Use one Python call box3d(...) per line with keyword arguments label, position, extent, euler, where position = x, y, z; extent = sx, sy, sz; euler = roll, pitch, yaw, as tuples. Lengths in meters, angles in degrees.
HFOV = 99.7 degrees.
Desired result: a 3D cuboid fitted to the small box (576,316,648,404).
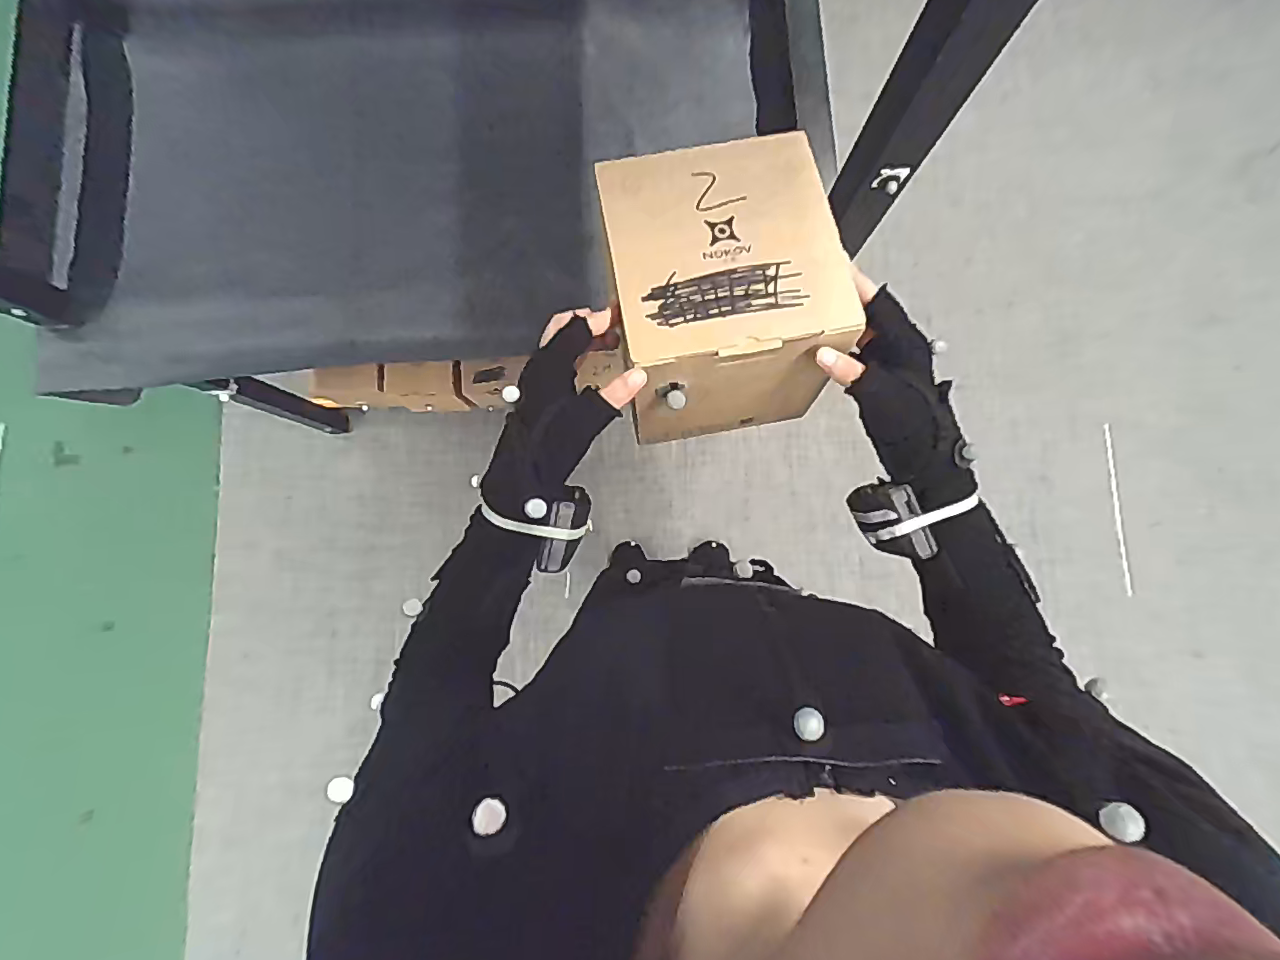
box3d(label="small box", position=(-0.066, -0.301, 1.379), extent=(0.168, 0.176, 0.179), euler=(3, 85, 2))
